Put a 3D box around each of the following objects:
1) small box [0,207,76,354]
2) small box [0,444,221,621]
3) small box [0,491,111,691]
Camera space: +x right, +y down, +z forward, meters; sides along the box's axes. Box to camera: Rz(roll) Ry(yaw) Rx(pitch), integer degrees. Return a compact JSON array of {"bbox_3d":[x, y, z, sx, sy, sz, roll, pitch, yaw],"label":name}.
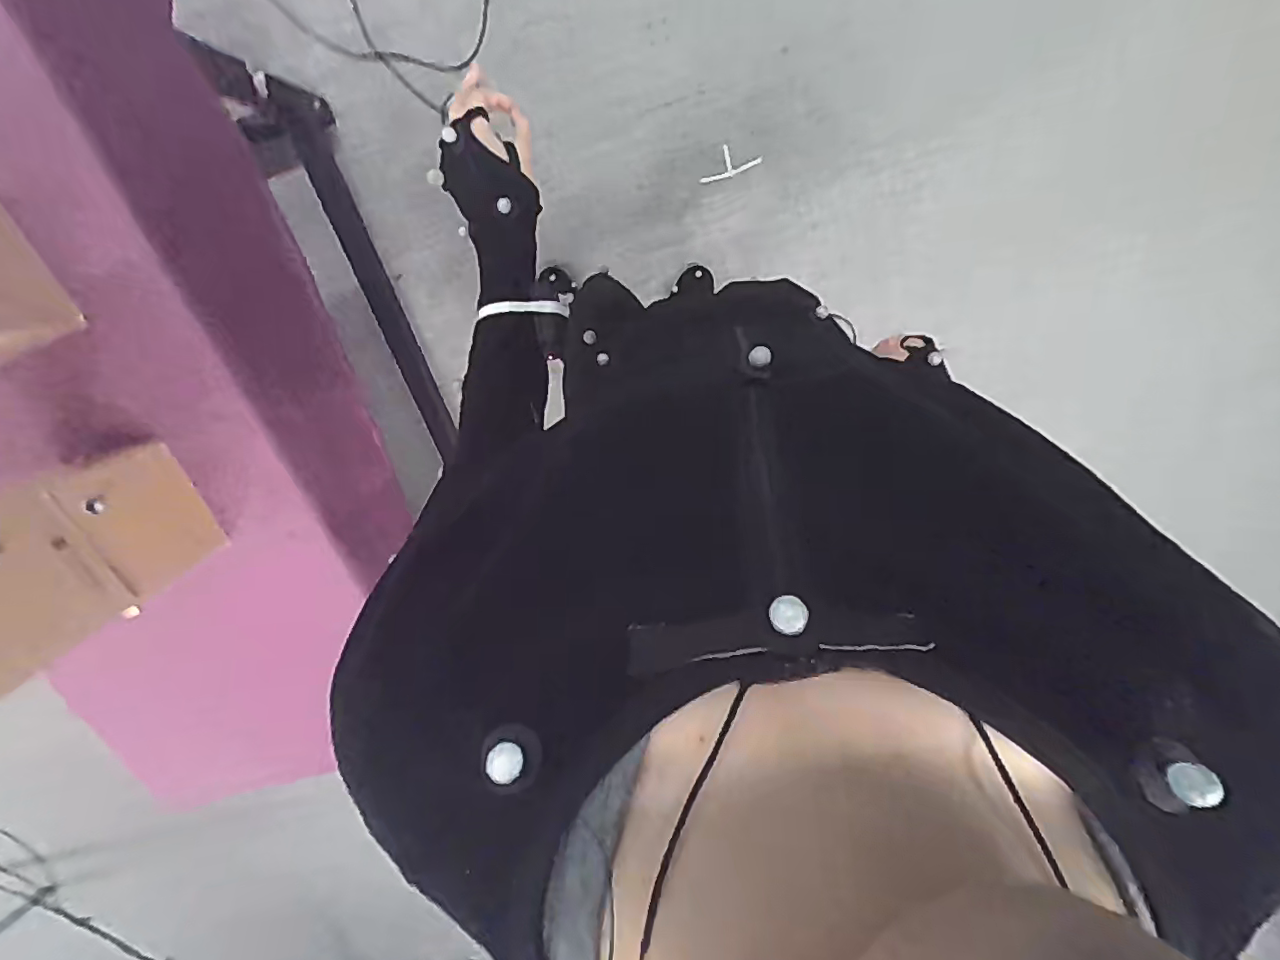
[{"bbox_3d":[-0.803,-0.217,0.588,0.168,0.176,0.179,-18,112,7],"label":"small box"},{"bbox_3d":[-0.717,0.073,0.713,0.168,0.176,0.179,-14,111,7],"label":"small box"},{"bbox_3d":[-0.719,0.129,0.560,0.179,0.176,0.168,-15,110,8],"label":"small box"}]
